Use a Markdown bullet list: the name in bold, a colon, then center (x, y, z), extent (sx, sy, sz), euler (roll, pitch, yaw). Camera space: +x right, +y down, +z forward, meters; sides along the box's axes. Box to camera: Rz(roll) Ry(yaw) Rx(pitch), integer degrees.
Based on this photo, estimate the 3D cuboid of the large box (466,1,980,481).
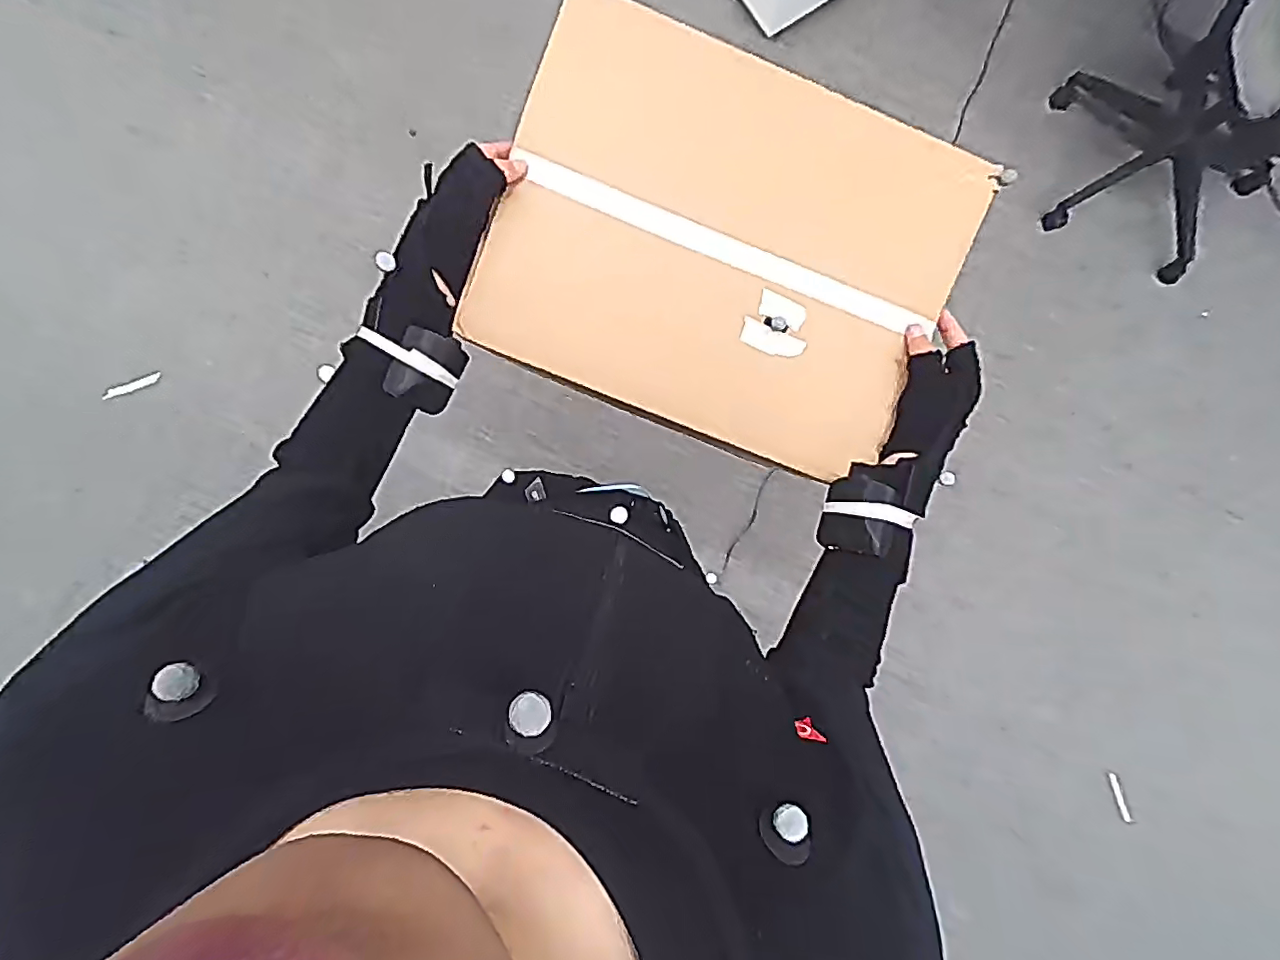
- **large box**: center (0.068, -0.222, 0.640), extent (0.408, 0.320, 0.320), euler (21, 96, -5)
